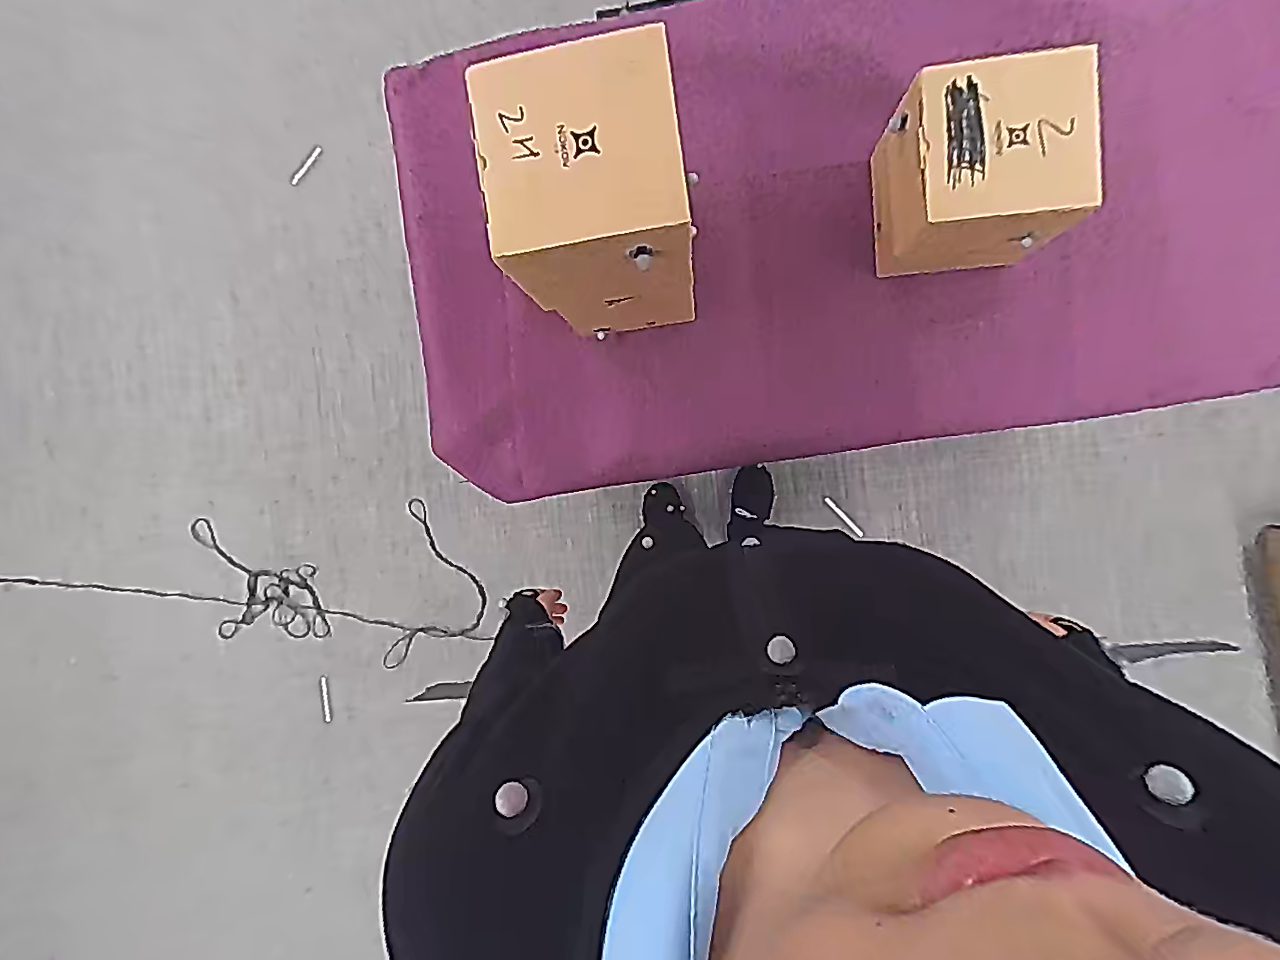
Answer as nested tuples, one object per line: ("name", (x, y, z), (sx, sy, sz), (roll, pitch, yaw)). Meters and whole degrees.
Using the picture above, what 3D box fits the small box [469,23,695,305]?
("small box", (-0.043, -0.286, 0.532), (0.179, 0.176, 0.168), (-8, 91, 7))

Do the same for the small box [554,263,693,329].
("small box", (-0.022, -0.301, 0.695), (0.168, 0.176, 0.179), (-7, 91, 7))
